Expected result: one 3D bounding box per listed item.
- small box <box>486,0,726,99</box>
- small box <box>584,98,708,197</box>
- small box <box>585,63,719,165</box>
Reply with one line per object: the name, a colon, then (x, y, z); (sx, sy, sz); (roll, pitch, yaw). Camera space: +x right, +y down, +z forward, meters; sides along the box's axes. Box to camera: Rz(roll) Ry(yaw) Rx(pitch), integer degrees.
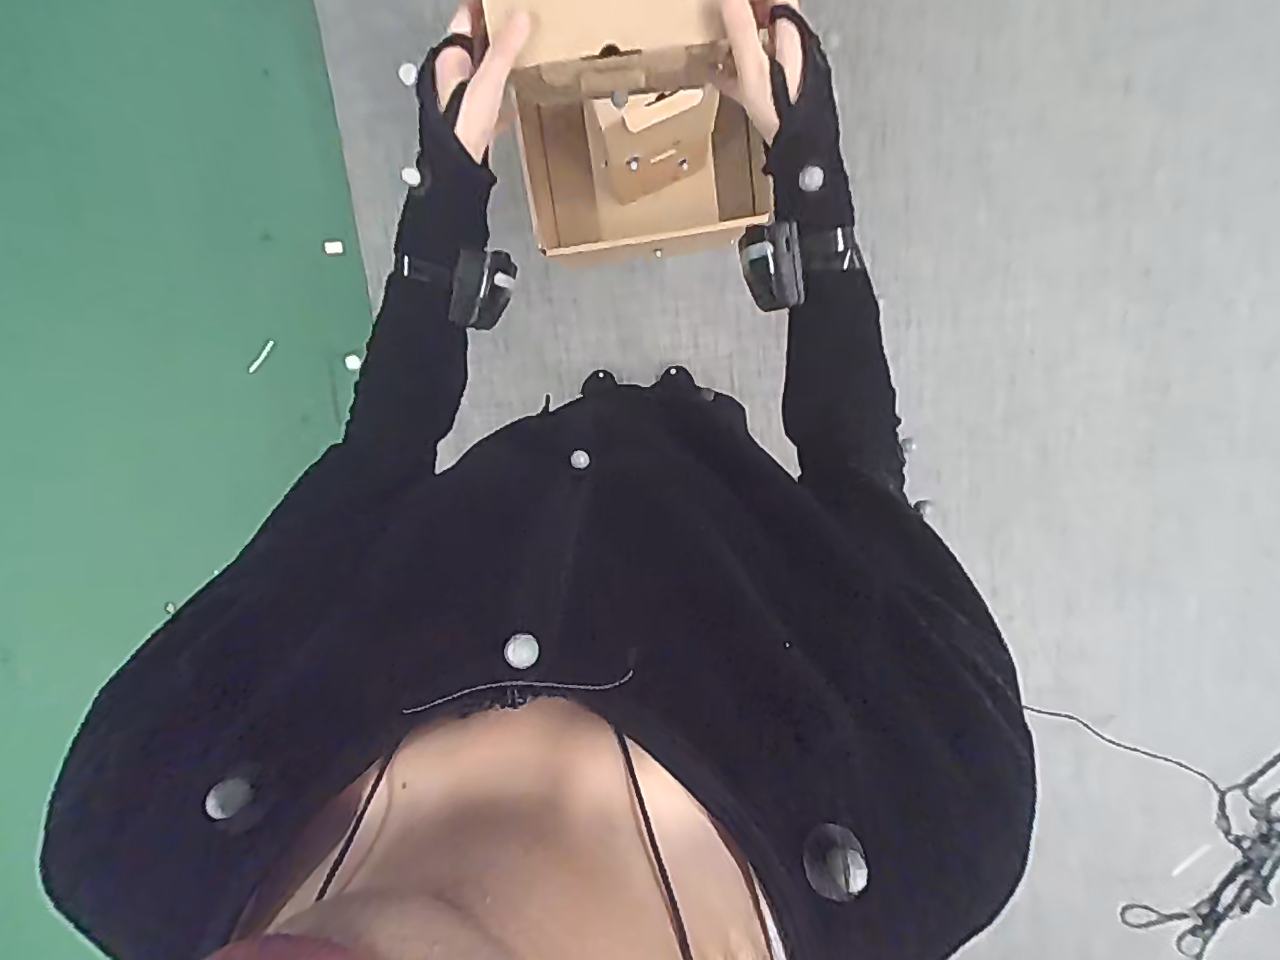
small box: (-0.024, -0.404, 0.409); (0.168, 0.176, 0.179); (-4, 119, 3)
small box: (0.007, -0.598, 0.899); (0.168, 0.176, 0.179); (-20, 99, 7)
small box: (-0.001, -0.564, 0.739); (0.168, 0.176, 0.179); (-20, 98, 6)
